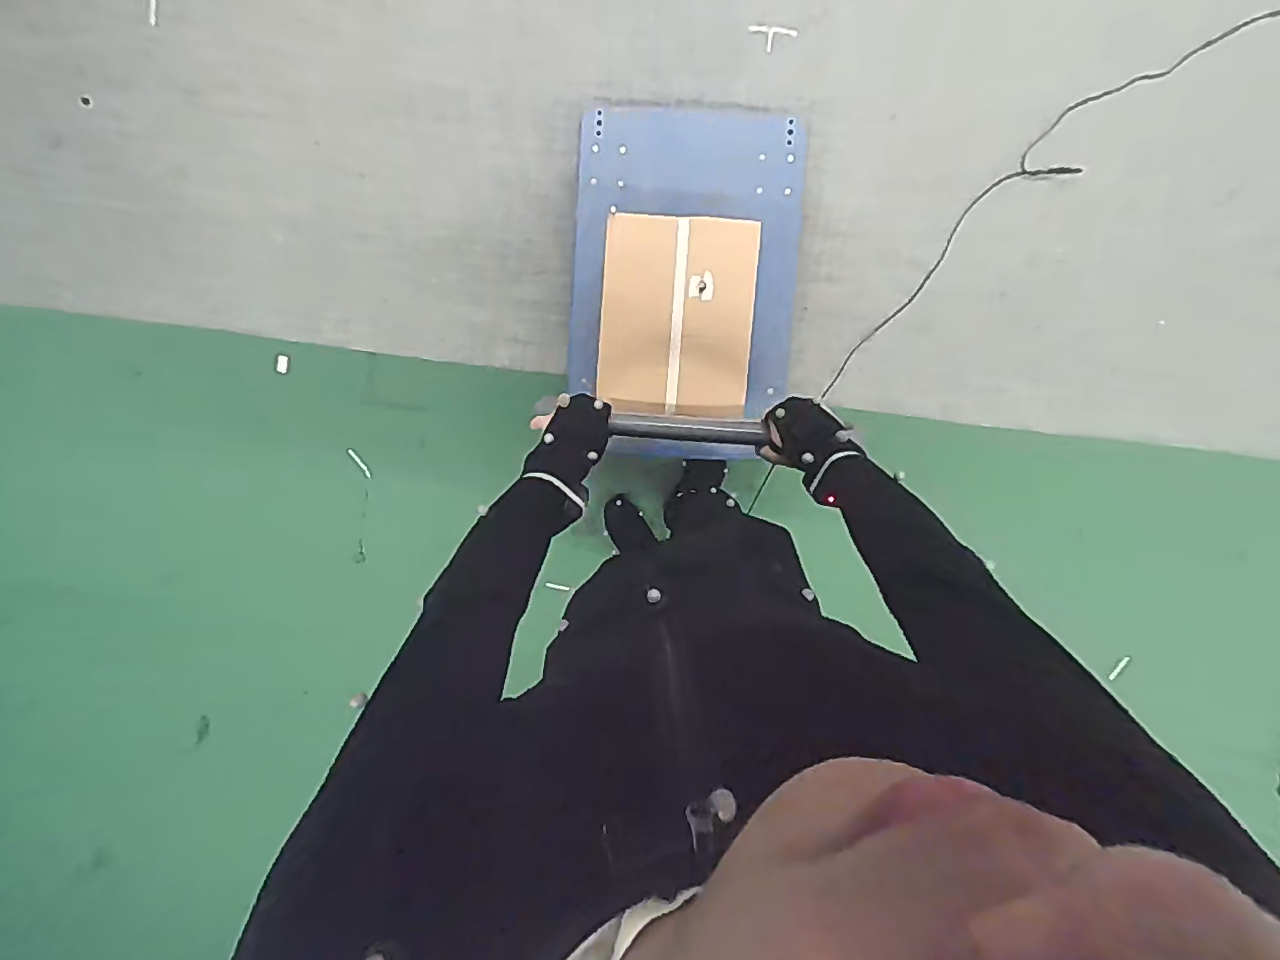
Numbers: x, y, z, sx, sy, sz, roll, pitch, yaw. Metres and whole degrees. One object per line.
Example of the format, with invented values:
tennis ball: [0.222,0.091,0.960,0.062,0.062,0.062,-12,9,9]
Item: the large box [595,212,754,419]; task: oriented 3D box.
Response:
large box: [0.075,-0.354,1.267,0.320,0.320,0.408,4,94,1]
